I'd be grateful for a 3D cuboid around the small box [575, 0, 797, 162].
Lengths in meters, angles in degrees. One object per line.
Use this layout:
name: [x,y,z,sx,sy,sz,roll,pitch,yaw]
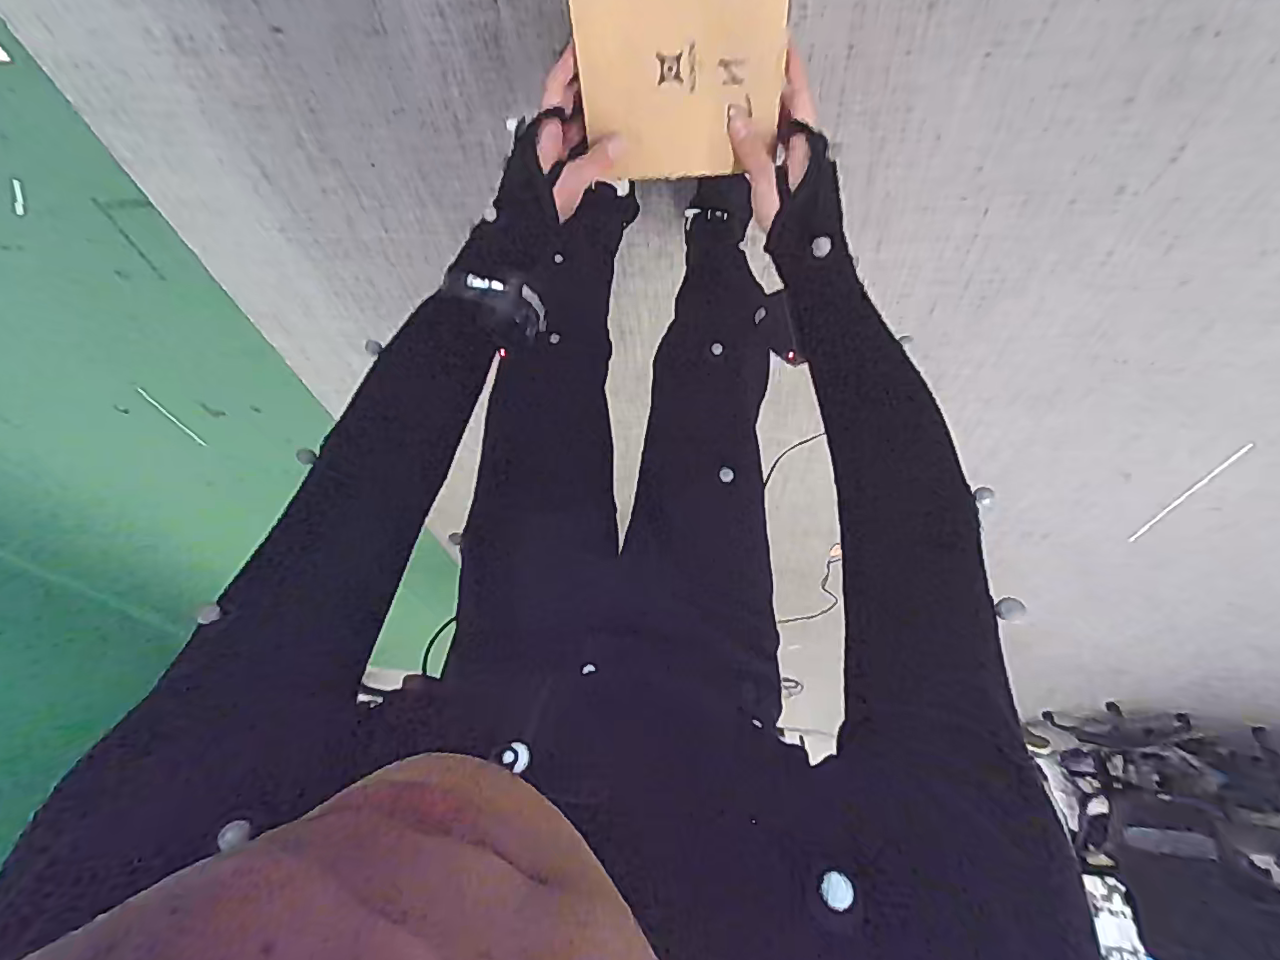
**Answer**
small box: [0.044,-0.413,0.499,0.179,0.176,0.168,1,138,6]
